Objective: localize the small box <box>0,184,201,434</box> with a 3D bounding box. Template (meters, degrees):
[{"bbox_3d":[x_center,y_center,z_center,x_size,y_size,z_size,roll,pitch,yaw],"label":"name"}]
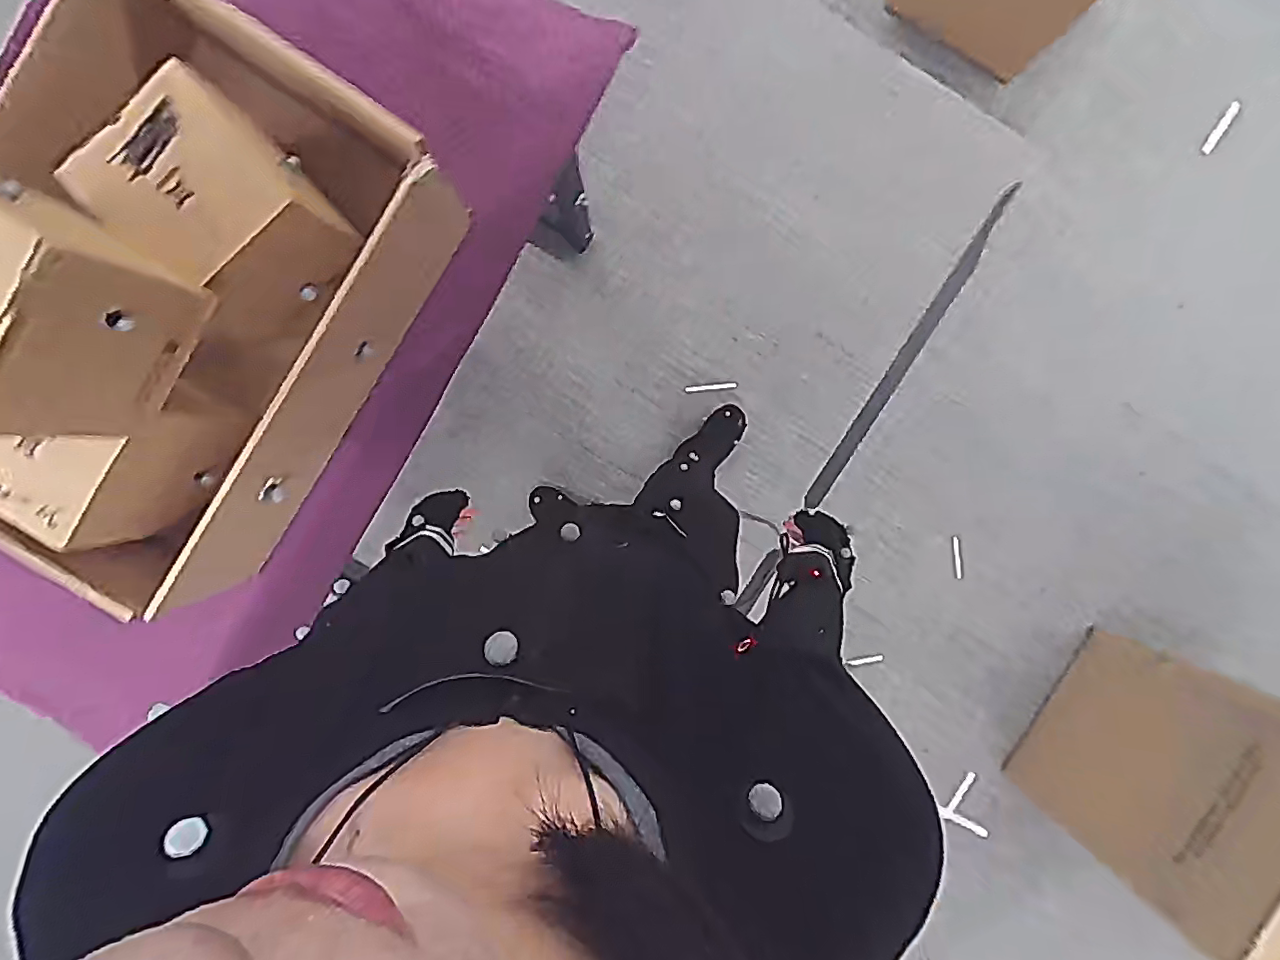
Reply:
[{"bbox_3d":[-0.536,-0.149,0.455,0.179,0.176,0.168,31,92,-2],"label":"small box"}]

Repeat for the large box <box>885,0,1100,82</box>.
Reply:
[{"bbox_3d":[0.885,-1.268,1.277,0.408,0.320,0.320,28,94,-4],"label":"large box"}]
